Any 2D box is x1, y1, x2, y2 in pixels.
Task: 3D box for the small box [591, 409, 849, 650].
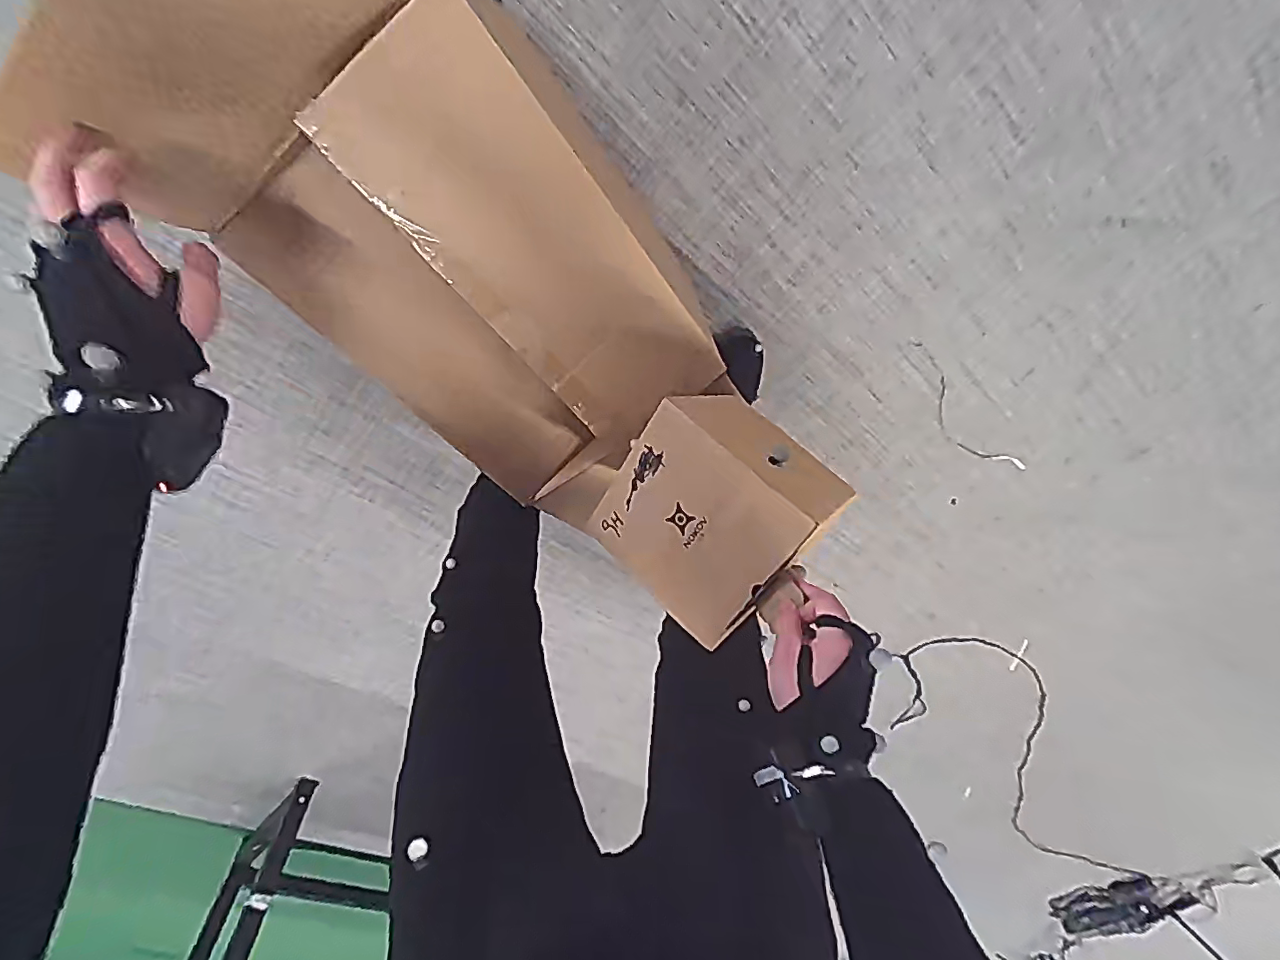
[{"bbox_3d":[0.088,0.035,0.566,0.179,0.176,0.168,41,117,22],"label":"small box"}]
